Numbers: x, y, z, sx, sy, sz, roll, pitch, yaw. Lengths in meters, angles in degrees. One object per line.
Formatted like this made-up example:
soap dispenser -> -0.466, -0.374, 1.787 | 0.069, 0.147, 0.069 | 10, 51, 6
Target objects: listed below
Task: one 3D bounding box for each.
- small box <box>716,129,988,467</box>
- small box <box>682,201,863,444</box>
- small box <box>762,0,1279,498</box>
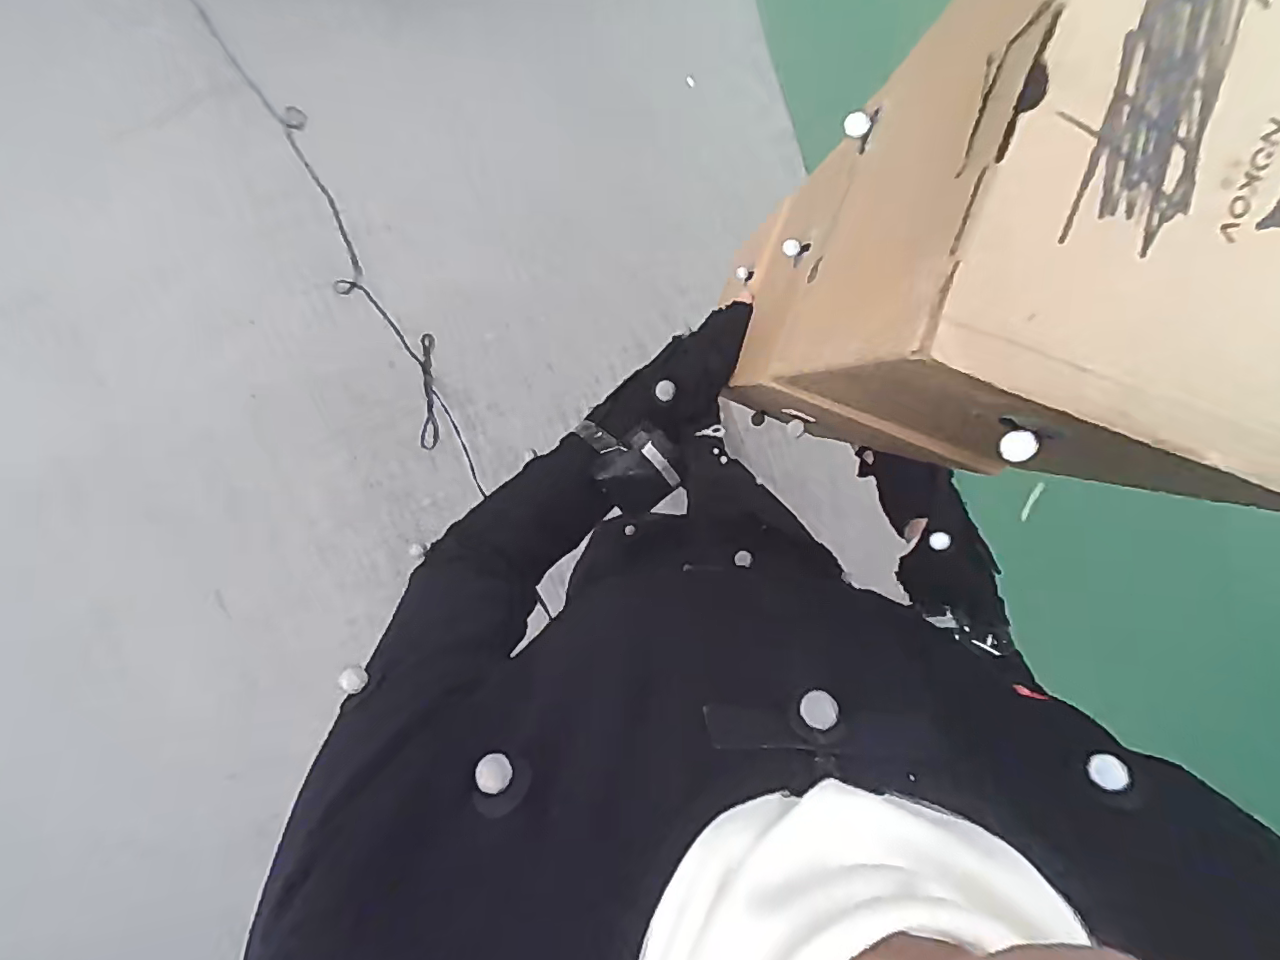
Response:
small box -> 0.169, -0.129, 0.403 | 0.168, 0.176, 0.179 | 21, 99, -5
small box -> 0.161, -0.153, 0.565 | 0.179, 0.176, 0.168 | 22, 98, -7
small box -> 0.174, -0.104, 0.241 | 0.179, 0.176, 0.168 | 19, 98, -5
